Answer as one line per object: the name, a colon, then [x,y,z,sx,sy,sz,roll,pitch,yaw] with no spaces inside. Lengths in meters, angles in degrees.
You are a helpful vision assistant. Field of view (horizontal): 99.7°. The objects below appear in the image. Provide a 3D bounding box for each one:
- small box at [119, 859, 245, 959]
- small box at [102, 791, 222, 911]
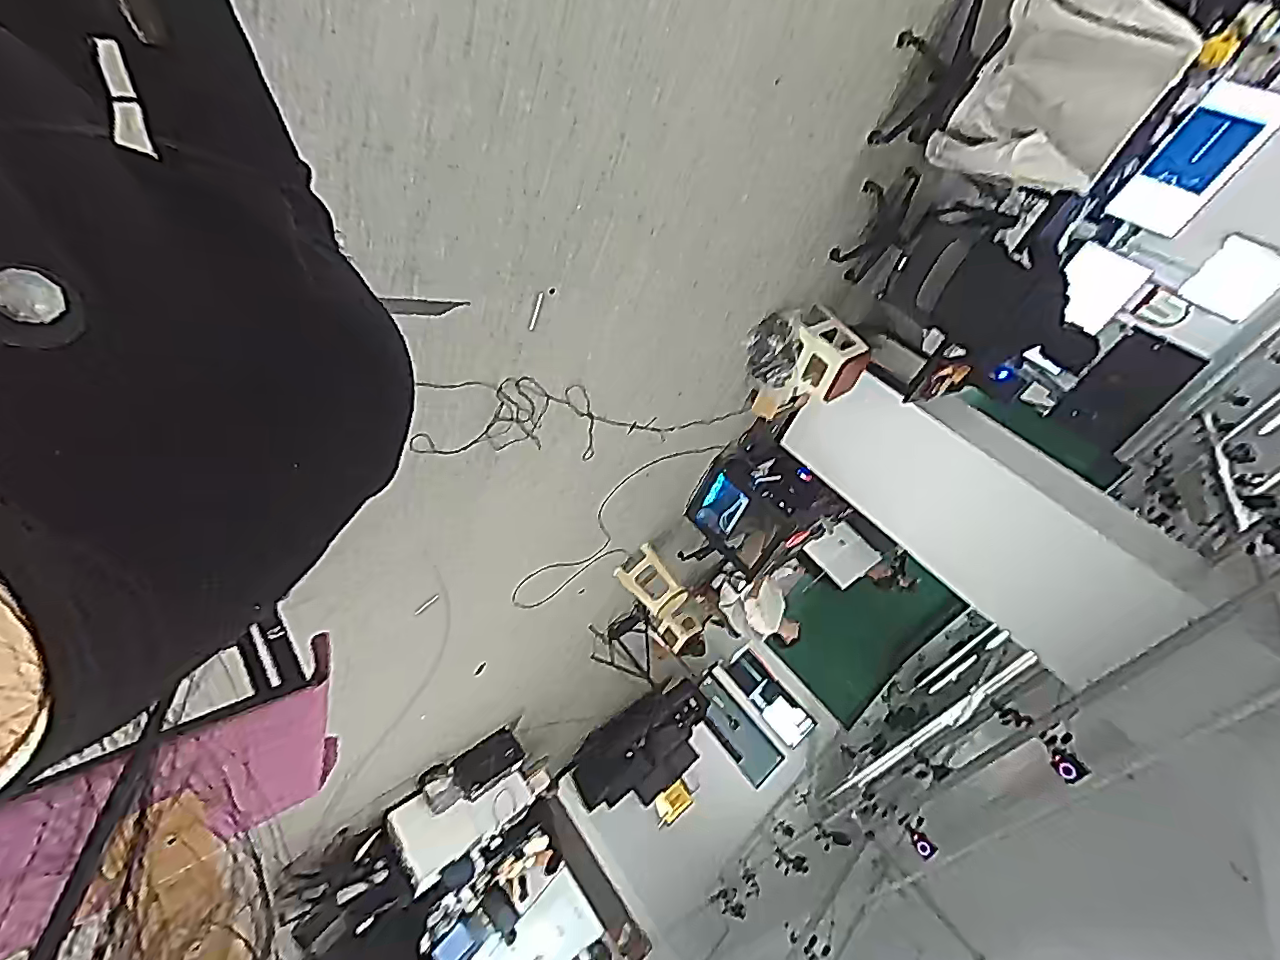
small box: [-0.935,0.930,1.112,0.168,0.176,0.179,-16,143,-45]
small box: [-1.036,0.820,1.179,0.168,0.176,0.179,-15,142,-45]
